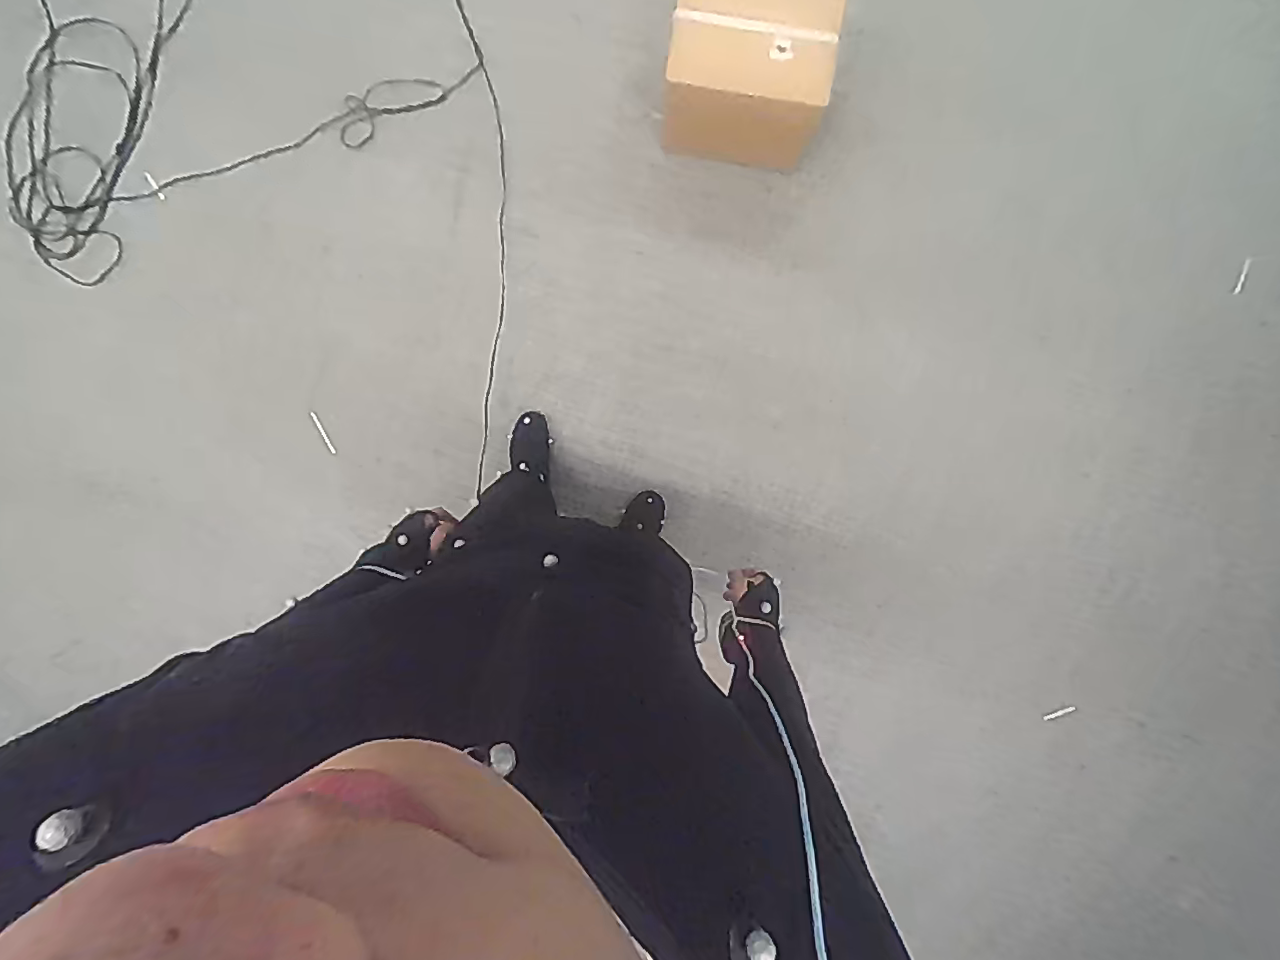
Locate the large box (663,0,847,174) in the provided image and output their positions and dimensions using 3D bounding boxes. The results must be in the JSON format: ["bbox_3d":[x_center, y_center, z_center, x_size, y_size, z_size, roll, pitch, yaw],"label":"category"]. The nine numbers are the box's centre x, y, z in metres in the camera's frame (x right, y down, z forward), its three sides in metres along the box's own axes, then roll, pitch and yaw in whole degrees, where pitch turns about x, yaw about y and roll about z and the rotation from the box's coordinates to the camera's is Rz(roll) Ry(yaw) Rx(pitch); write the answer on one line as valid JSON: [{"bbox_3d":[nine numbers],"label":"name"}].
[{"bbox_3d":[0.286,-1.084,1.458,0.408,0.320,0.320,10,92,0],"label":"large box"}]
